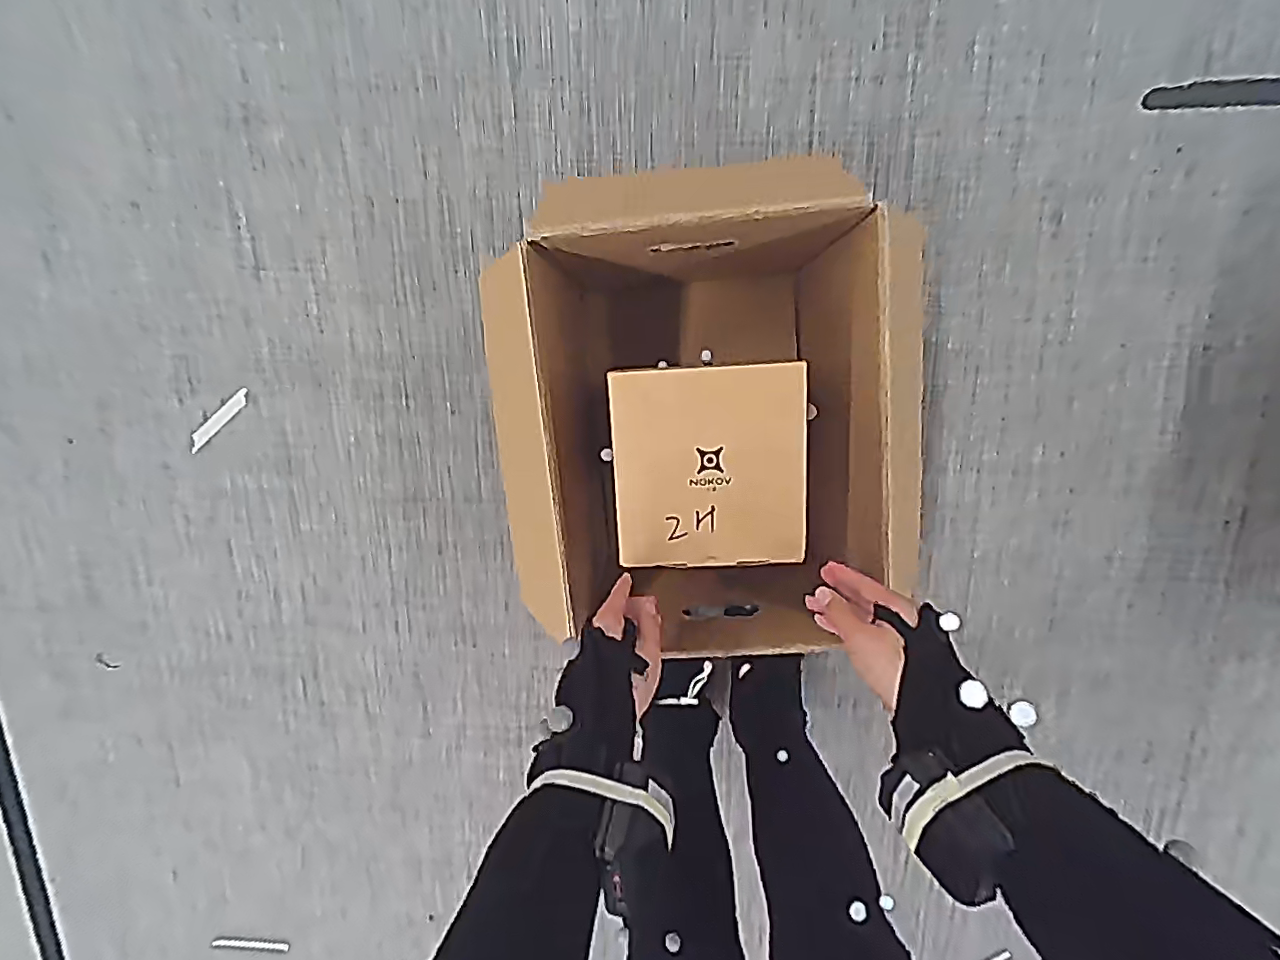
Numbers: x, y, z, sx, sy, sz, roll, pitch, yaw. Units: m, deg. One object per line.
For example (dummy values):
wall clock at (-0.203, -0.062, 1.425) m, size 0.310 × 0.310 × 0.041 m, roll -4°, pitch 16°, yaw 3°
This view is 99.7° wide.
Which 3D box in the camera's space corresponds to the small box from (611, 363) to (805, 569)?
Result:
small box at (0.062, -0.023, 0.544) m, size 0.168 × 0.176 × 0.179 m, roll -2°, pitch 101°, yaw 4°
